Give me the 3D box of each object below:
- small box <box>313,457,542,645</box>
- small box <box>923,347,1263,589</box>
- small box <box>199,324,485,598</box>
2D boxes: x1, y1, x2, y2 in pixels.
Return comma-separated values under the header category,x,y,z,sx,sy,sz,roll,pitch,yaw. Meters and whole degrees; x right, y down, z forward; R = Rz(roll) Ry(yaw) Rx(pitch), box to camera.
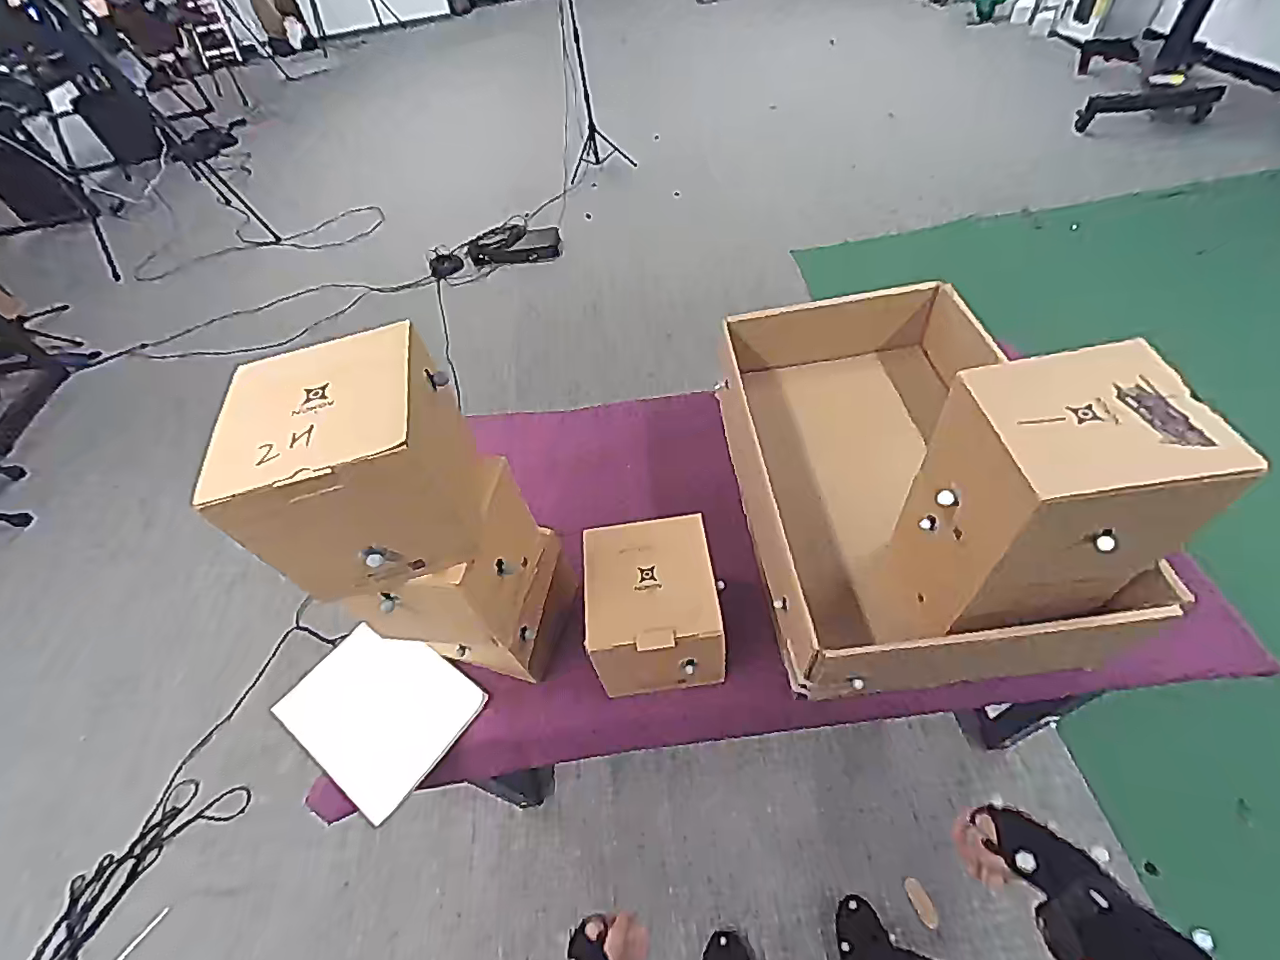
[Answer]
category,x,y,z,sx,sy,sz,roll,pitch,yaw
small box,-0.233,0.087,0.648,0.179,0.176,0.168,1,52,11
small box,0.420,-0.006,0.547,0.179,0.176,0.168,-9,51,6
small box,-0.261,-0.016,0.522,0.168,0.176,0.179,-16,51,-3
